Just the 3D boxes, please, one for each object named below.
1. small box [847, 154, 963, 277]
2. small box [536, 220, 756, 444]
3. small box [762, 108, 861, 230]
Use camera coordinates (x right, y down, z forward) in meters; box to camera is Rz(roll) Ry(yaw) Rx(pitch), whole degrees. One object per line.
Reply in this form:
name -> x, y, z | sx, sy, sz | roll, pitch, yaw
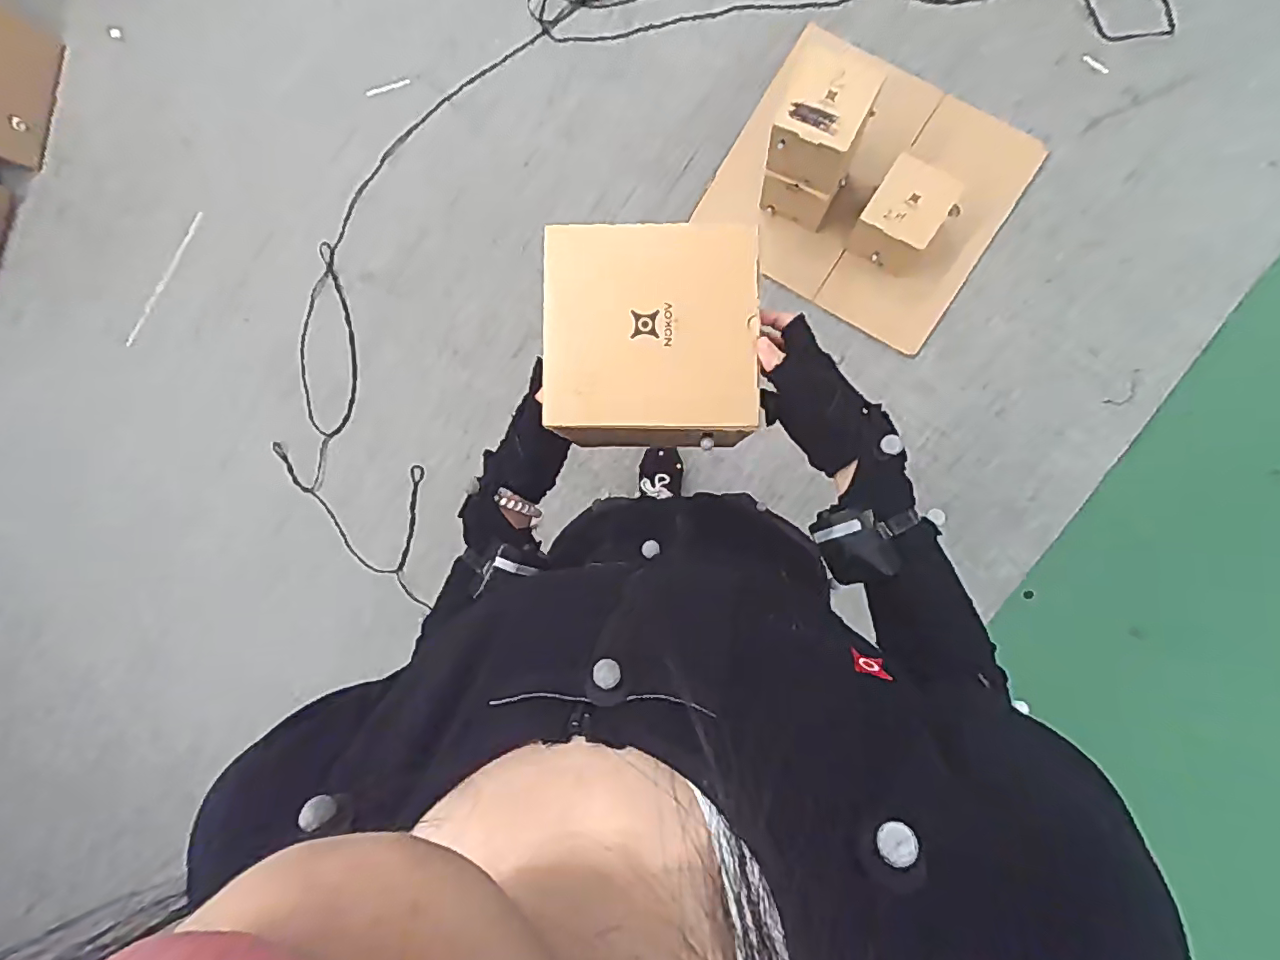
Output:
small box -> 0.628, -0.630, 1.308 | 0.168, 0.176, 0.179 | 32, 95, 8
small box -> 0.008, -0.123, 0.510 | 0.179, 0.176, 0.168 | 0, 89, 2
small box -> 0.412, -0.755, 1.334 | 0.168, 0.176, 0.179 | 28, 94, 7
